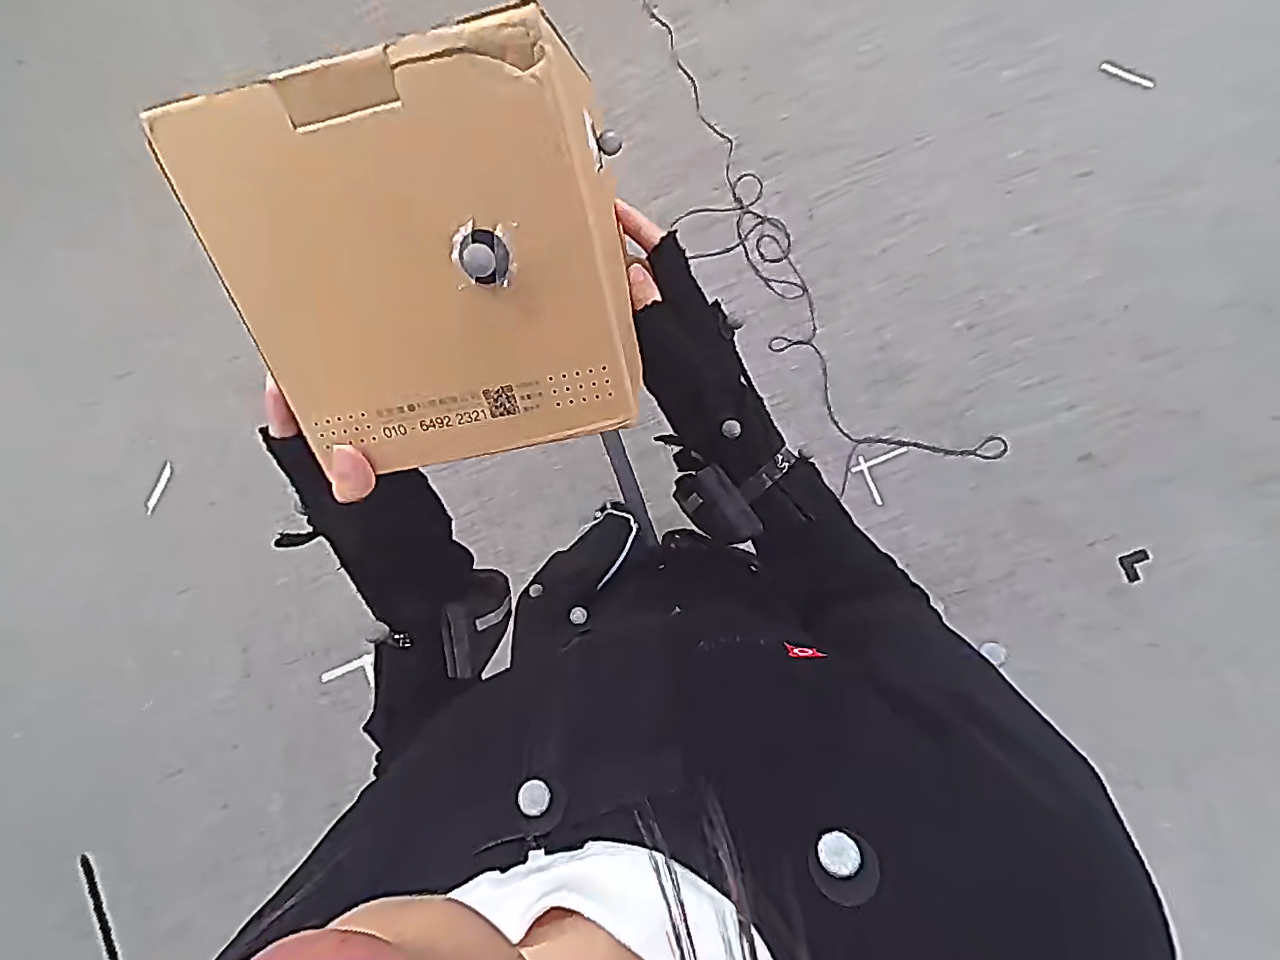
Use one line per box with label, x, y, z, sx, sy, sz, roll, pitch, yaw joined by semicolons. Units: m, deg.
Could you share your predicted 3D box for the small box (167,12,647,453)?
small box;-0.092;-0.124;0.316;0.168;0.179;0.176;-9;117;8
